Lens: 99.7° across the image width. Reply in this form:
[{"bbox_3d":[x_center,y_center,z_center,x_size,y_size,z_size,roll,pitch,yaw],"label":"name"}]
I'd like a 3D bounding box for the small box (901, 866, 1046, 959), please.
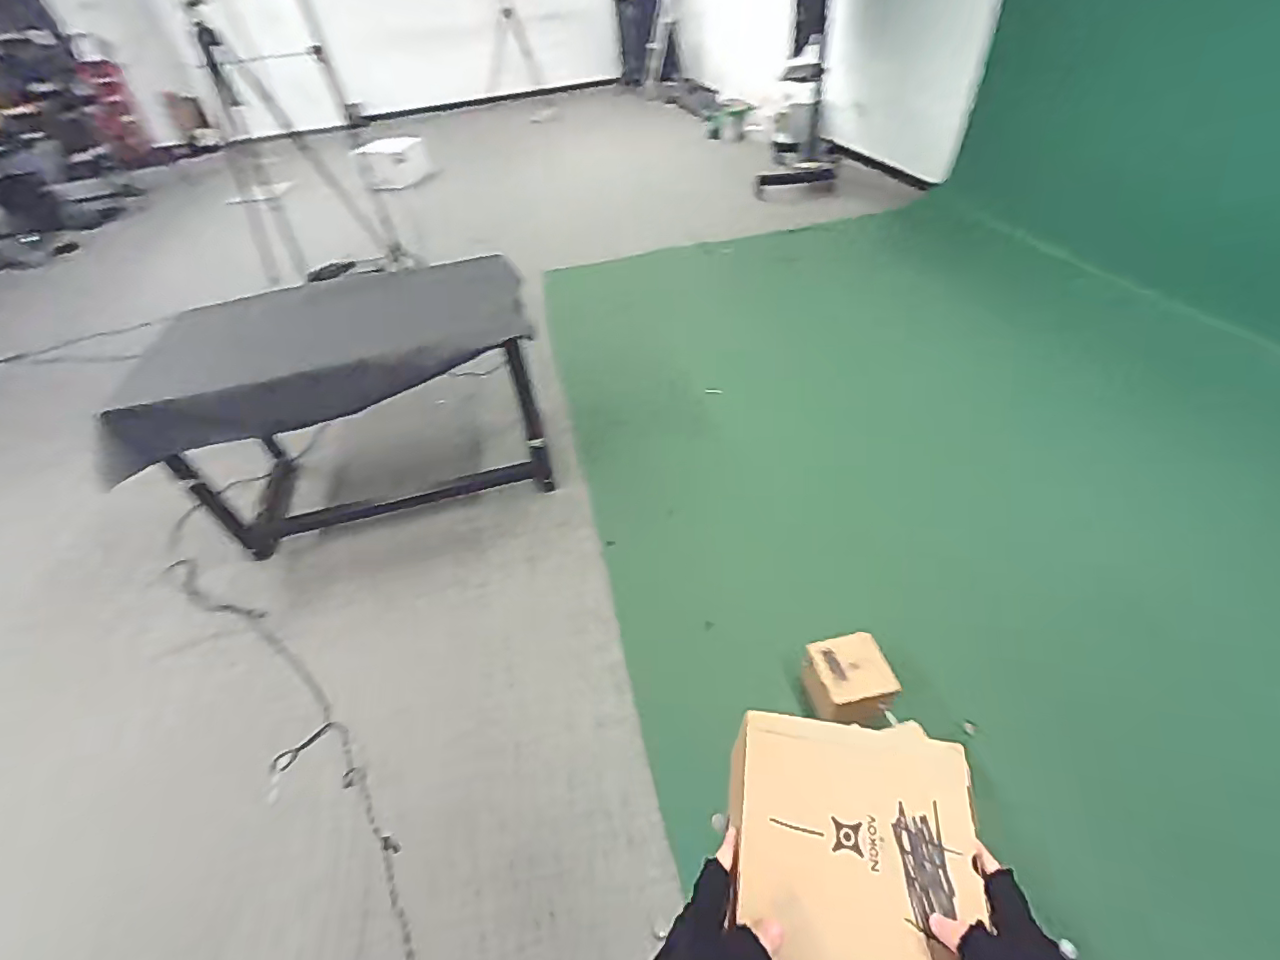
[{"bbox_3d":[0.648,0.896,1.063,0.168,0.176,0.179,-11,44,-4],"label":"small box"}]

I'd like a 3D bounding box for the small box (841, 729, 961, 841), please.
[{"bbox_3d":[0.597,0.714,1.263,0.179,0.176,0.168,-14,44,-5],"label":"small box"}]
